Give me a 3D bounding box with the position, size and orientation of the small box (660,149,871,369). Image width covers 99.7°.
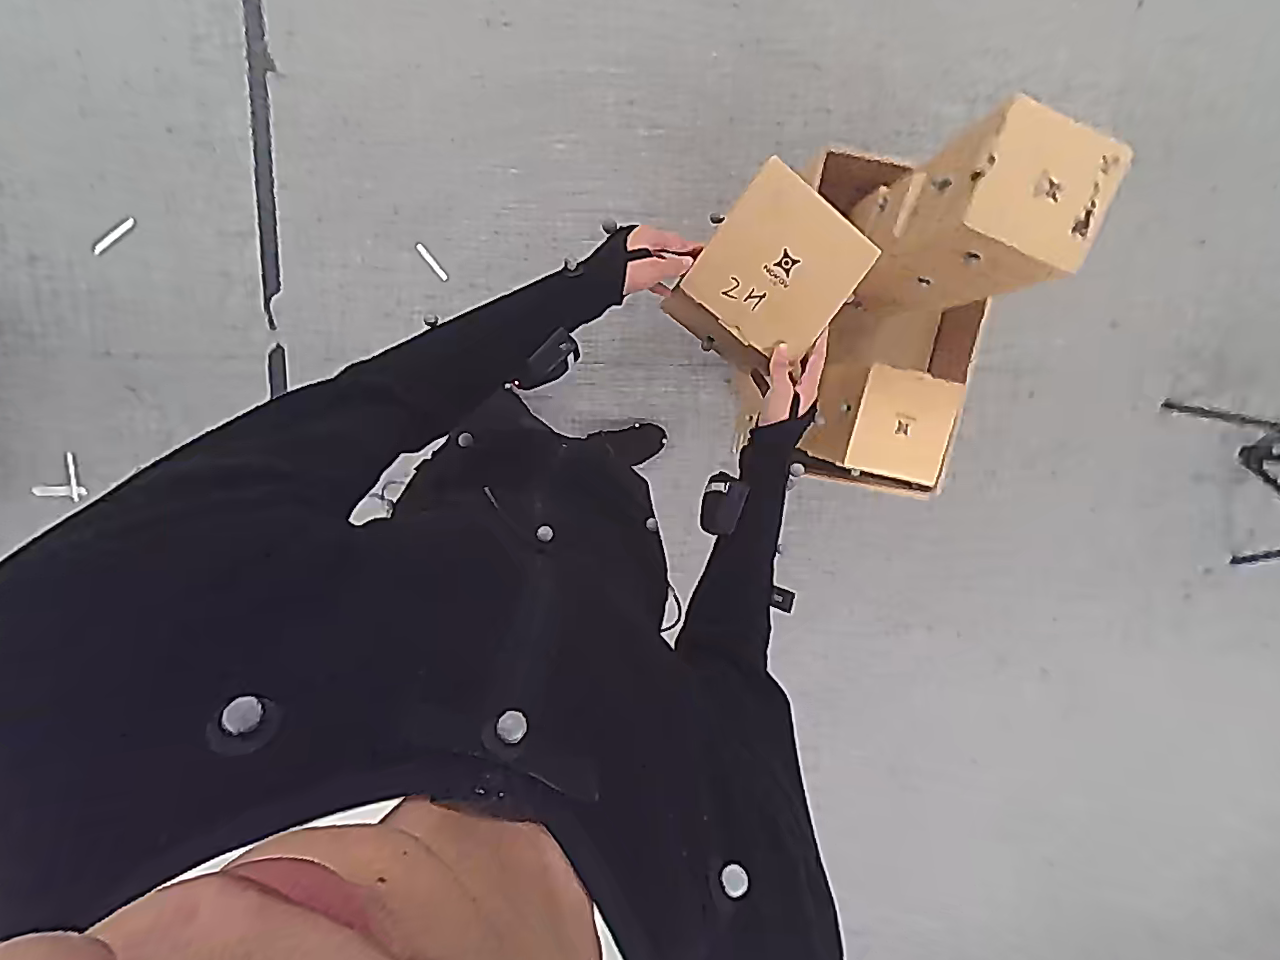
[{"bbox_3d":[0.140,-0.257,0.680,0.168,0.176,0.179,35,96,-10],"label":"small box"}]

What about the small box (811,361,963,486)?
[{"bbox_3d":[0.426,-0.103,0.966,0.168,0.176,0.179,13,98,-5],"label":"small box"}]

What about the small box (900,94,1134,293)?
[{"bbox_3d":[0.505,-0.379,0.756,0.179,0.176,0.168,22,98,-6],"label":"small box"}]

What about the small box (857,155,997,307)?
[{"bbox_3d":[0.503,-0.406,0.918,0.179,0.176,0.168,18,98,-6],"label":"small box"}]
